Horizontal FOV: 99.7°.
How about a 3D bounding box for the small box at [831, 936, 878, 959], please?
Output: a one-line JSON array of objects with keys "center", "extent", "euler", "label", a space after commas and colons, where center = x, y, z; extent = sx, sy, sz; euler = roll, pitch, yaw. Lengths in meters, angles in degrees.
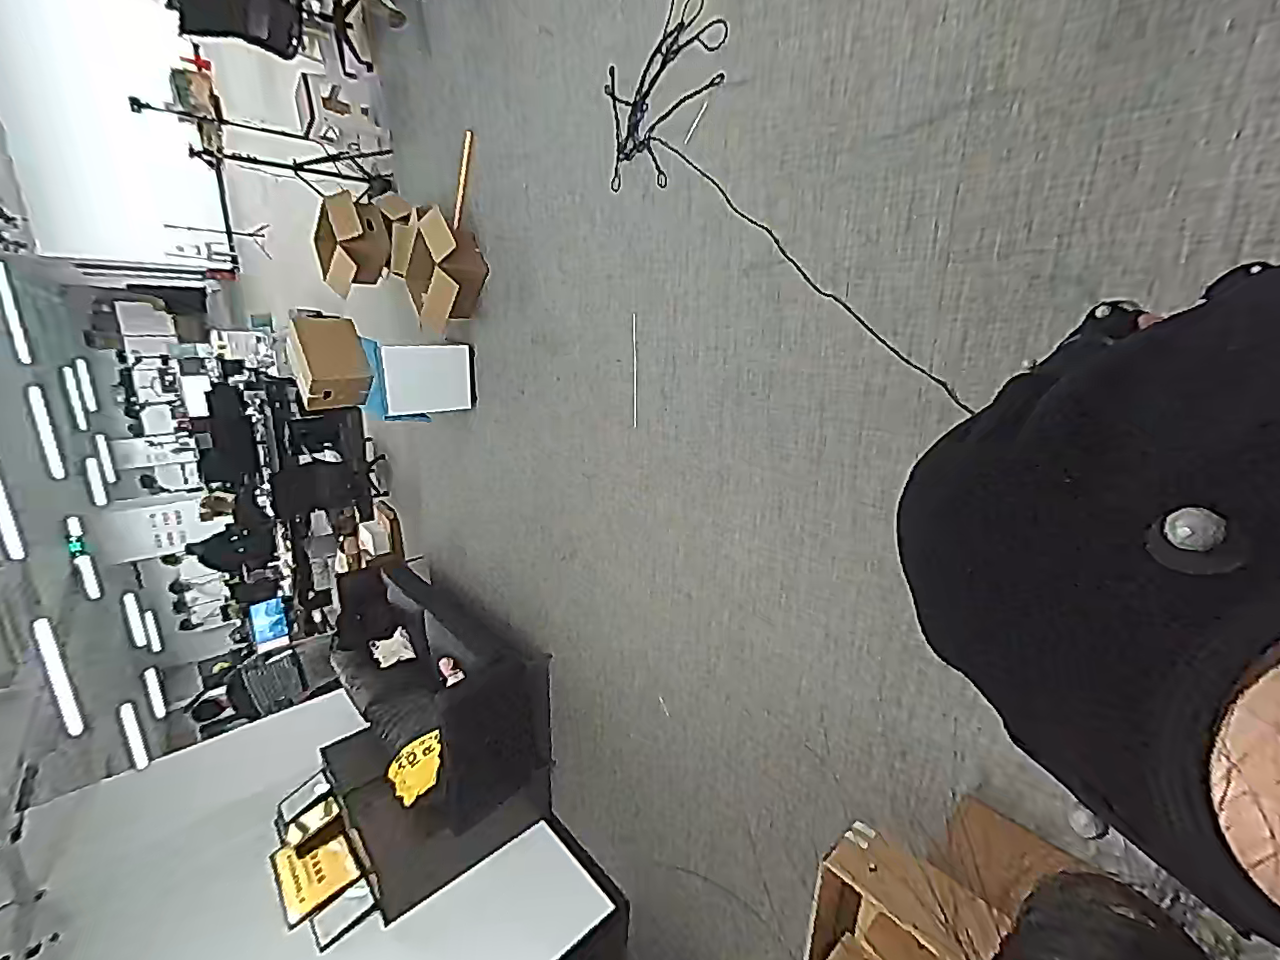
[{"center": [0.464, 1.142, 1.152], "extent": [0.168, 0.176, 0.179], "euler": [27, 119, 44], "label": "small box"}]
